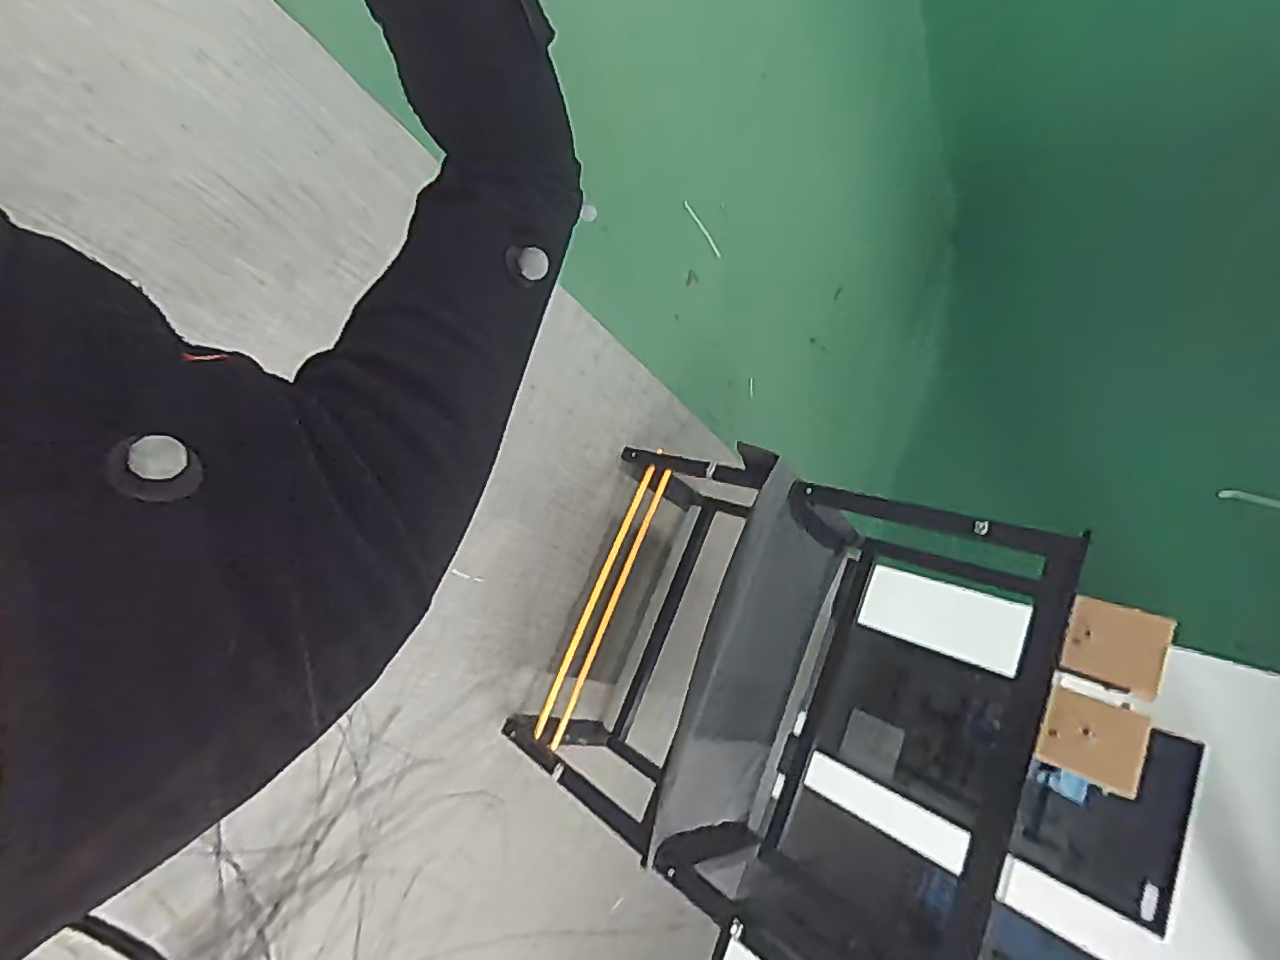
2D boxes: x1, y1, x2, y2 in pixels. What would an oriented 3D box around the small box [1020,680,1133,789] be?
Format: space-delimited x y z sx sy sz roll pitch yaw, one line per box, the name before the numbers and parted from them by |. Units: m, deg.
small box | 0.979 0.572 1.223 0.179 0.176 0.168 36 75 -48
